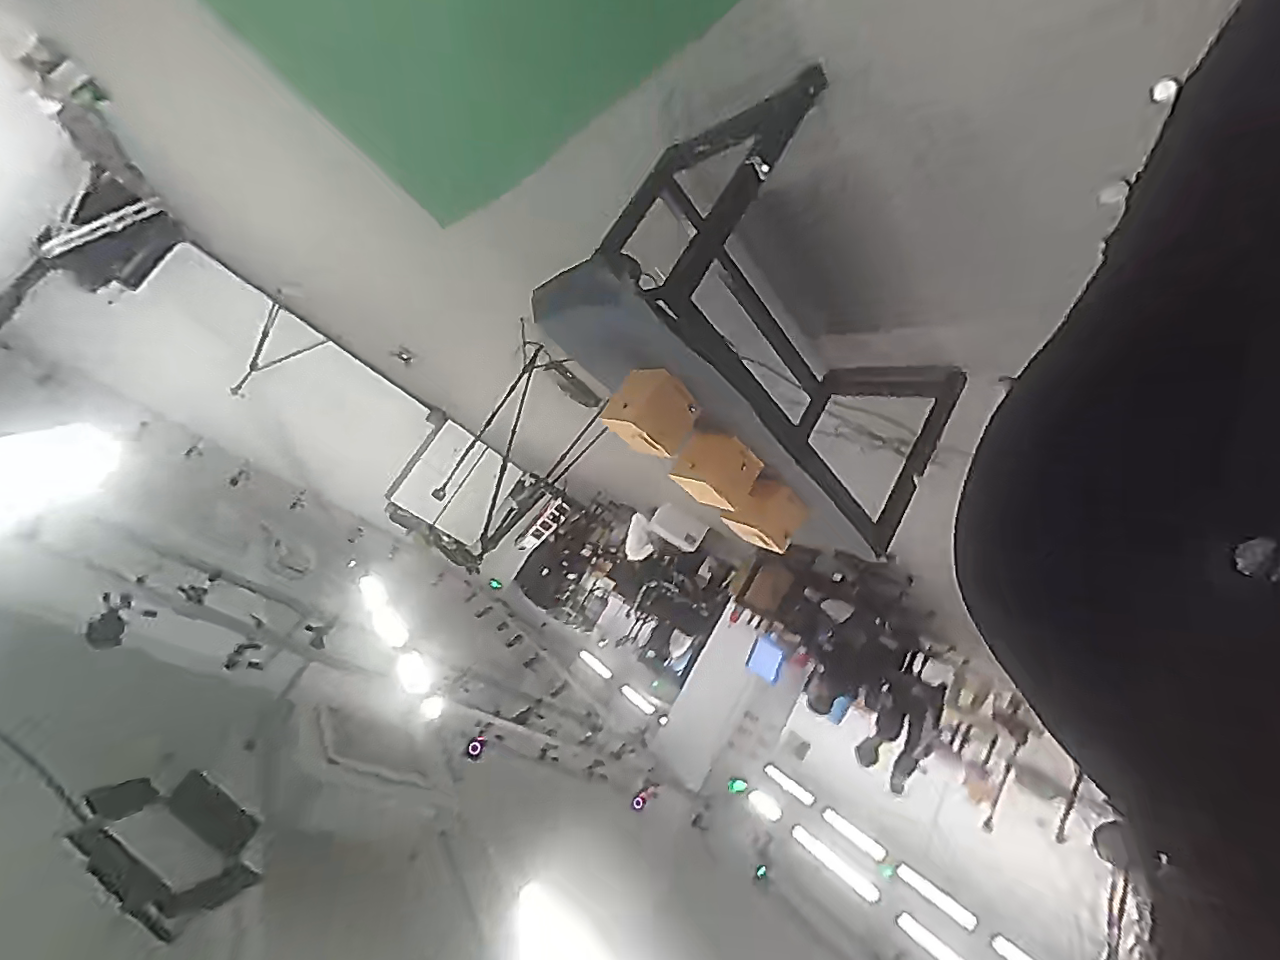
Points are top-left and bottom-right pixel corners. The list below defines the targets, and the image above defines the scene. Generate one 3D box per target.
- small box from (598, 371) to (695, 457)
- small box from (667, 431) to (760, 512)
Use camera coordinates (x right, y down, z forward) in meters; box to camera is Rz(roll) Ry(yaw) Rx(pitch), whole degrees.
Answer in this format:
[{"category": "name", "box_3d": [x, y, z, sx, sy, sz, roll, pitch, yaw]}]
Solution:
[{"category": "small box", "box_3d": [0.026, -0.181, 1.458, 0.168, 0.176, 0.179, 39, 166, -32]}, {"category": "small box", "box_3d": [0.220, -0.031, 1.598, 0.168, 0.176, 0.179, 40, 165, -32]}]
